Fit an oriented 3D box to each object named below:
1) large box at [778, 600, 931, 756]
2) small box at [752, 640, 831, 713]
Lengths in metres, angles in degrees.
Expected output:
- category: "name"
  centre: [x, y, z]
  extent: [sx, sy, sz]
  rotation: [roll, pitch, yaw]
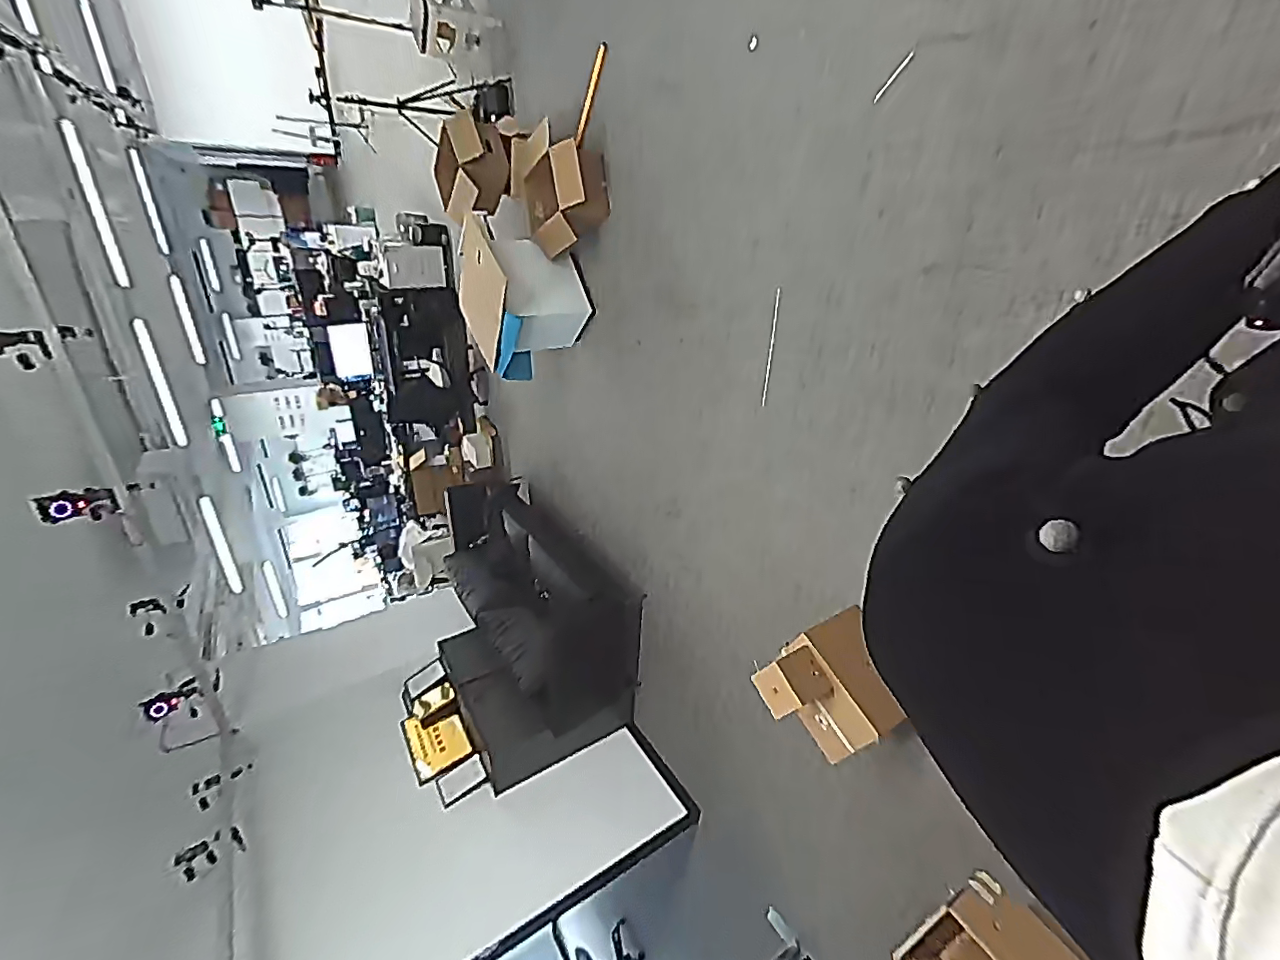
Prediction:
- category: "large box"
  centre: [0.777, 0.734, 2.039]
  extent: [0.408, 0.320, 0.320]
  rotation: [54, 144, 29]
- category: "small box"
  centre: [0.540, 0.700, 1.927]
  extent: [0.168, 0.176, 0.179]
  rotation: [59, 144, 24]
